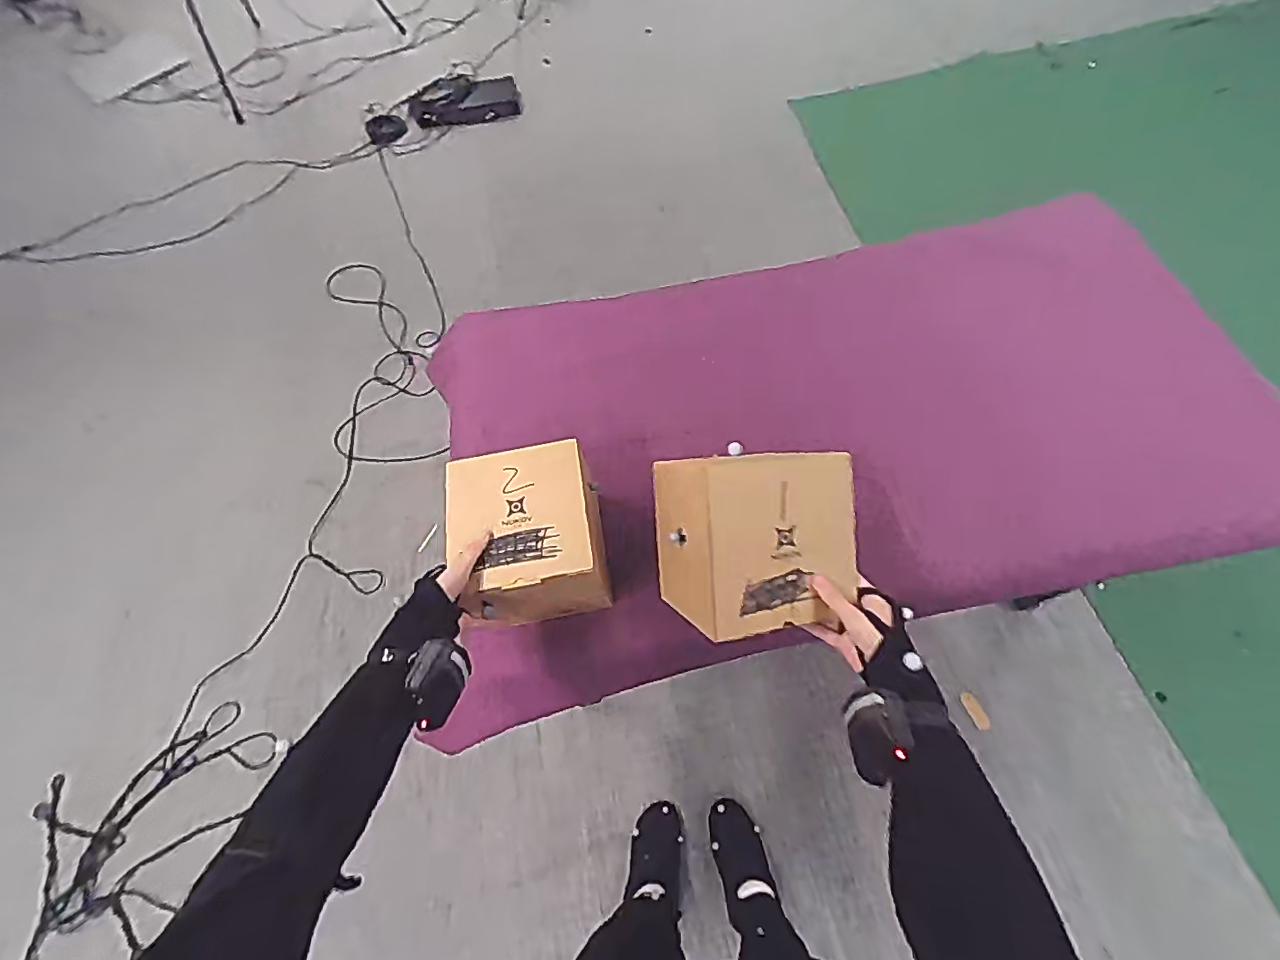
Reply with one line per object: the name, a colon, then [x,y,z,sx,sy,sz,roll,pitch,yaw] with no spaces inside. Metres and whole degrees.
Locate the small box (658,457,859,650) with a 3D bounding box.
small box: [0.123,0.067,0.608,0.168,0.176,0.179,-4,95,-15]
